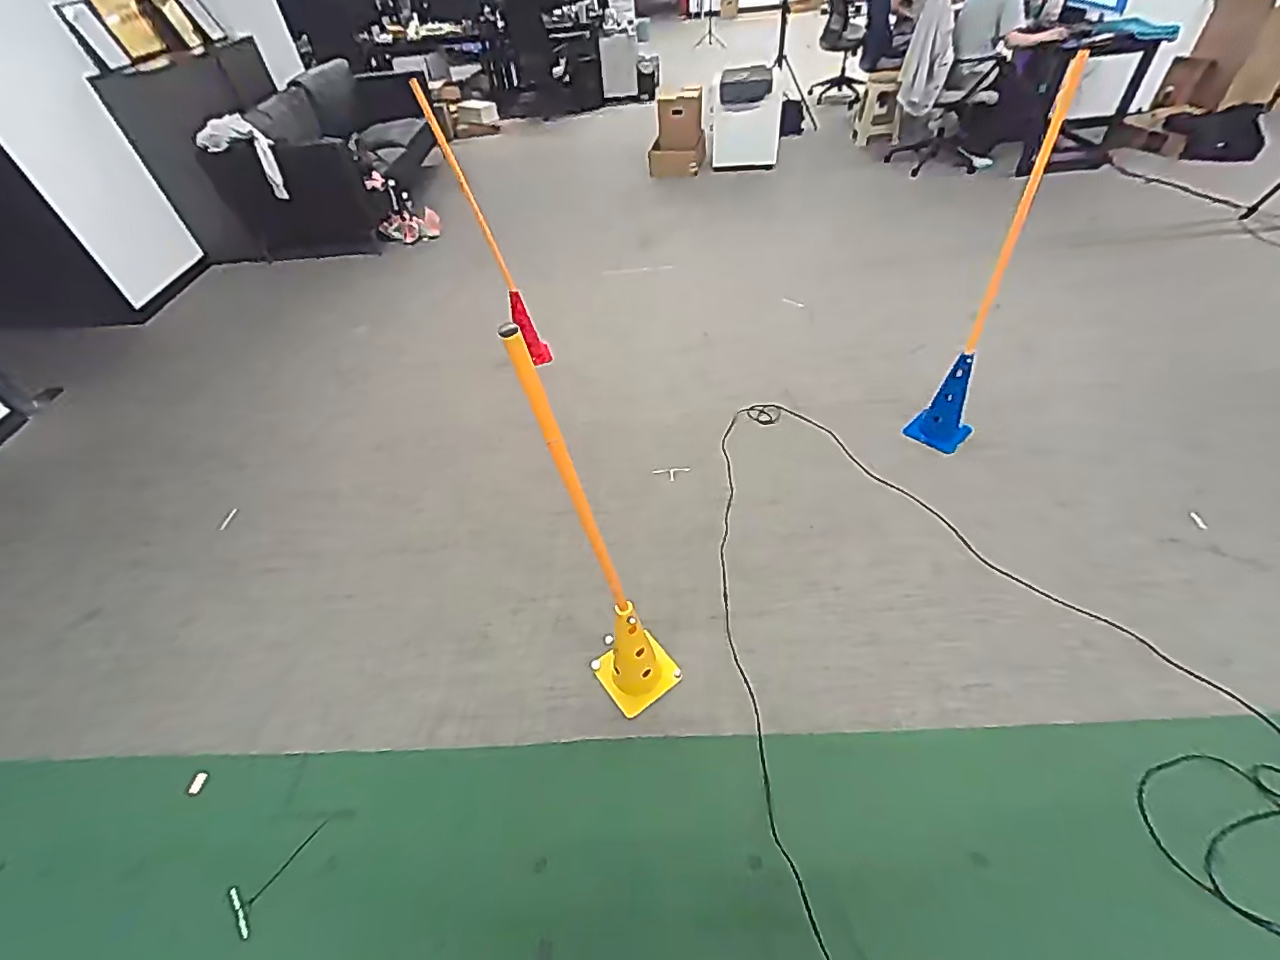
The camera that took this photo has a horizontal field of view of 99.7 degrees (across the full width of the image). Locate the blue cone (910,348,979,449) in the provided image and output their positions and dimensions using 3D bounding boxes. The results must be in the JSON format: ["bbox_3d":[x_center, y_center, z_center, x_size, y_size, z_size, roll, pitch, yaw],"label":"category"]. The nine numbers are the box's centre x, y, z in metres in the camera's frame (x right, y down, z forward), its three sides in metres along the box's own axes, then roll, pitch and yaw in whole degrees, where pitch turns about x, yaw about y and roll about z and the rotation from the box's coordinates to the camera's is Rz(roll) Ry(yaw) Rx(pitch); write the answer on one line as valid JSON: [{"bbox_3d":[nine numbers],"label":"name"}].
[{"bbox_3d":[1.164,-0.318,2.006,0.192,0.380,0.193,33,56,33],"label":"blue cone"}]
